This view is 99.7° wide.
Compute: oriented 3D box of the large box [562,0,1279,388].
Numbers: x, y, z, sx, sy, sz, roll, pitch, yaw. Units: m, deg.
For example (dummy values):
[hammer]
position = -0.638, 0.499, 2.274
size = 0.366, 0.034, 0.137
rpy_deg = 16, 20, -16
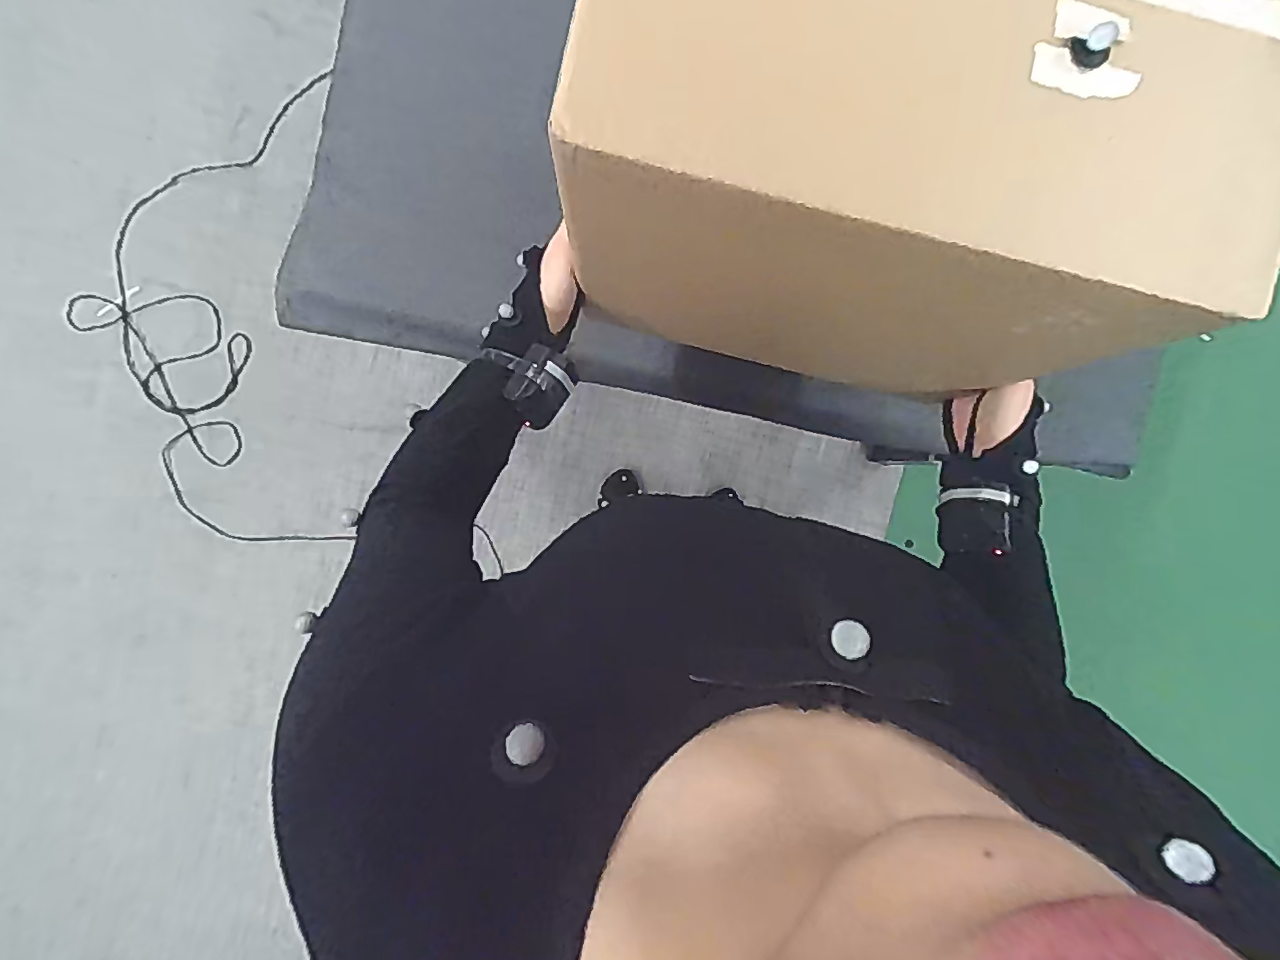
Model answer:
[large box]
position = 0.170, -0.291, 0.458
size = 0.408, 0.320, 0.320
rpy_deg = 13, 90, -3
